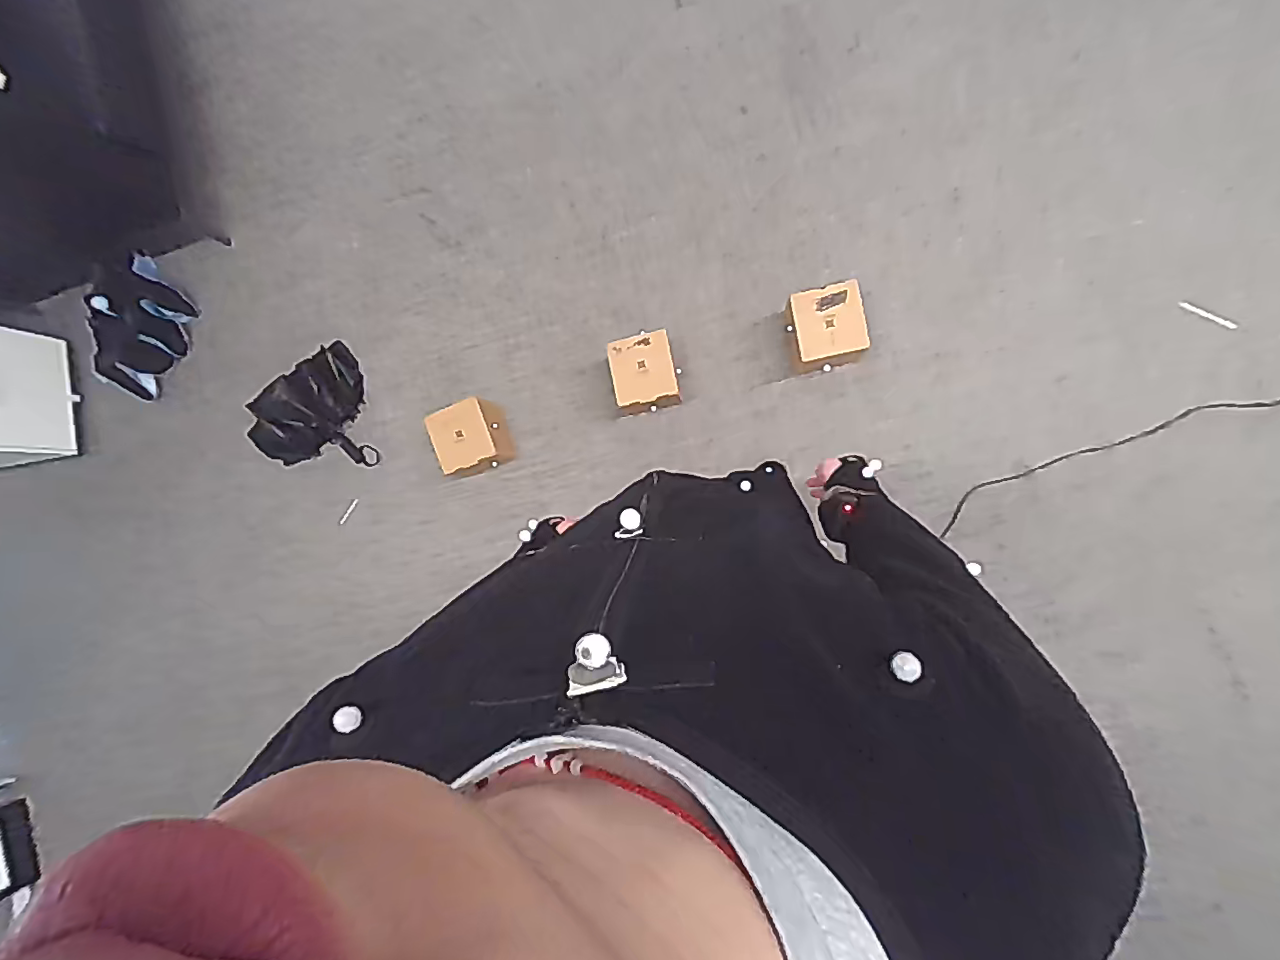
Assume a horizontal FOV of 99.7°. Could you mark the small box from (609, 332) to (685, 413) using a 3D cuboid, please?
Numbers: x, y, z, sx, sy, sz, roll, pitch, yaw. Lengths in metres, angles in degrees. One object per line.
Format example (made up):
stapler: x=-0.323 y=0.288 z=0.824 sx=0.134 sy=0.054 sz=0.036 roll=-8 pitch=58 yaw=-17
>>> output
small box: x=0.026 y=-0.287 z=1.493 sx=0.168 sy=0.176 sz=0.179 roll=-12 pitch=88 yaw=9

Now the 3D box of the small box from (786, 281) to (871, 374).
small box: x=0.484 y=-0.390 z=1.412 sx=0.168 sy=0.176 sz=0.179 roll=-11 pitch=89 yaw=11
